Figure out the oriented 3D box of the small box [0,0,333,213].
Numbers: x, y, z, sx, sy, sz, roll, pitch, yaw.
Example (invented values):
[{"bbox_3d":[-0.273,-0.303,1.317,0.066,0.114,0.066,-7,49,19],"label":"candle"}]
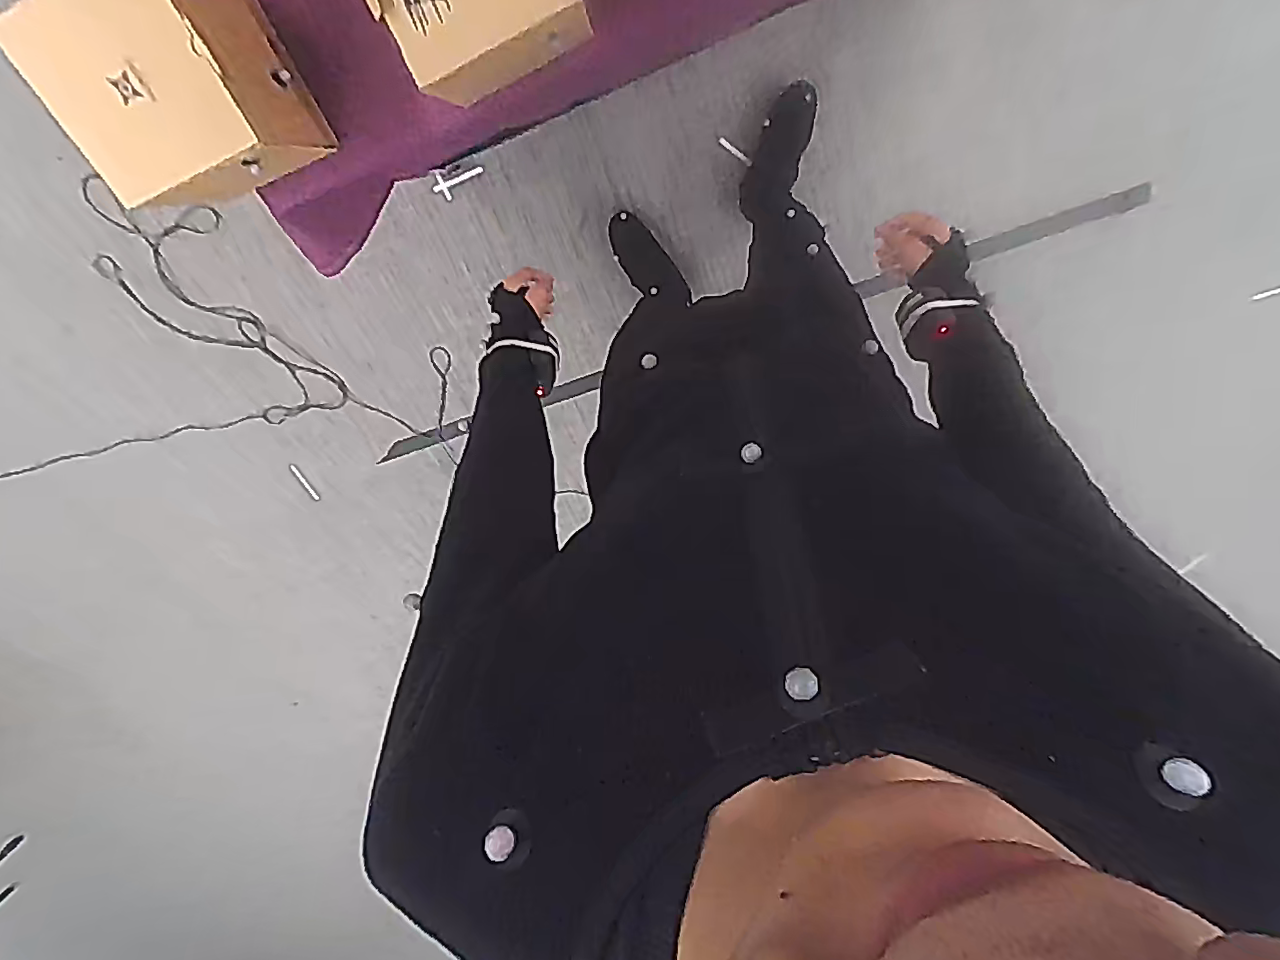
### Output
[{"bbox_3d":[-0.485,-0.410,0.587,0.179,0.176,0.168,-19,118,9],"label":"small box"}]
